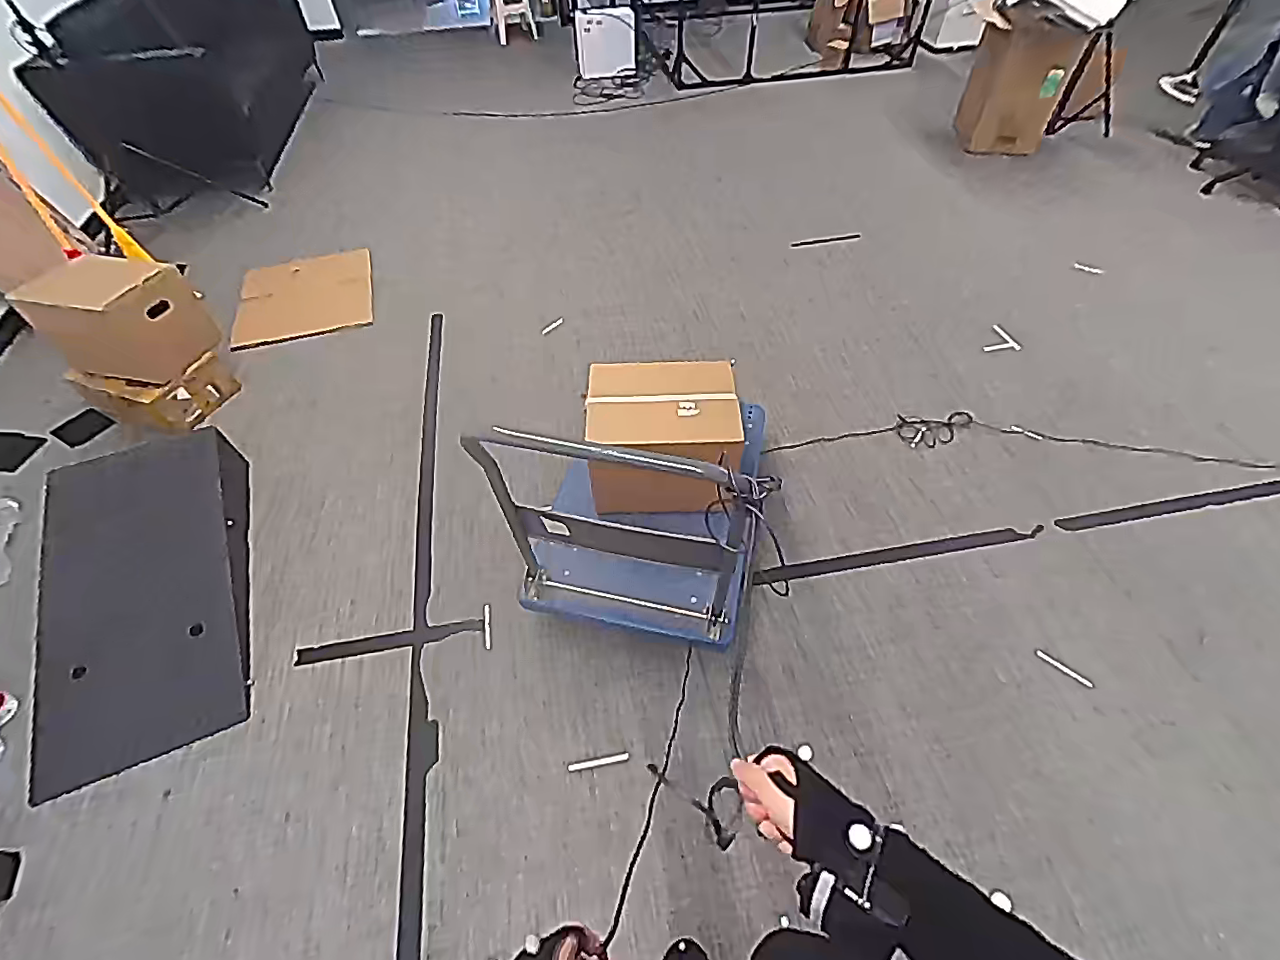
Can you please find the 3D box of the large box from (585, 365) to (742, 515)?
[{"bbox_3d":[0.056,-0.112,1.561,0.408,0.320,0.320,-1,52,0],"label":"large box"}]
